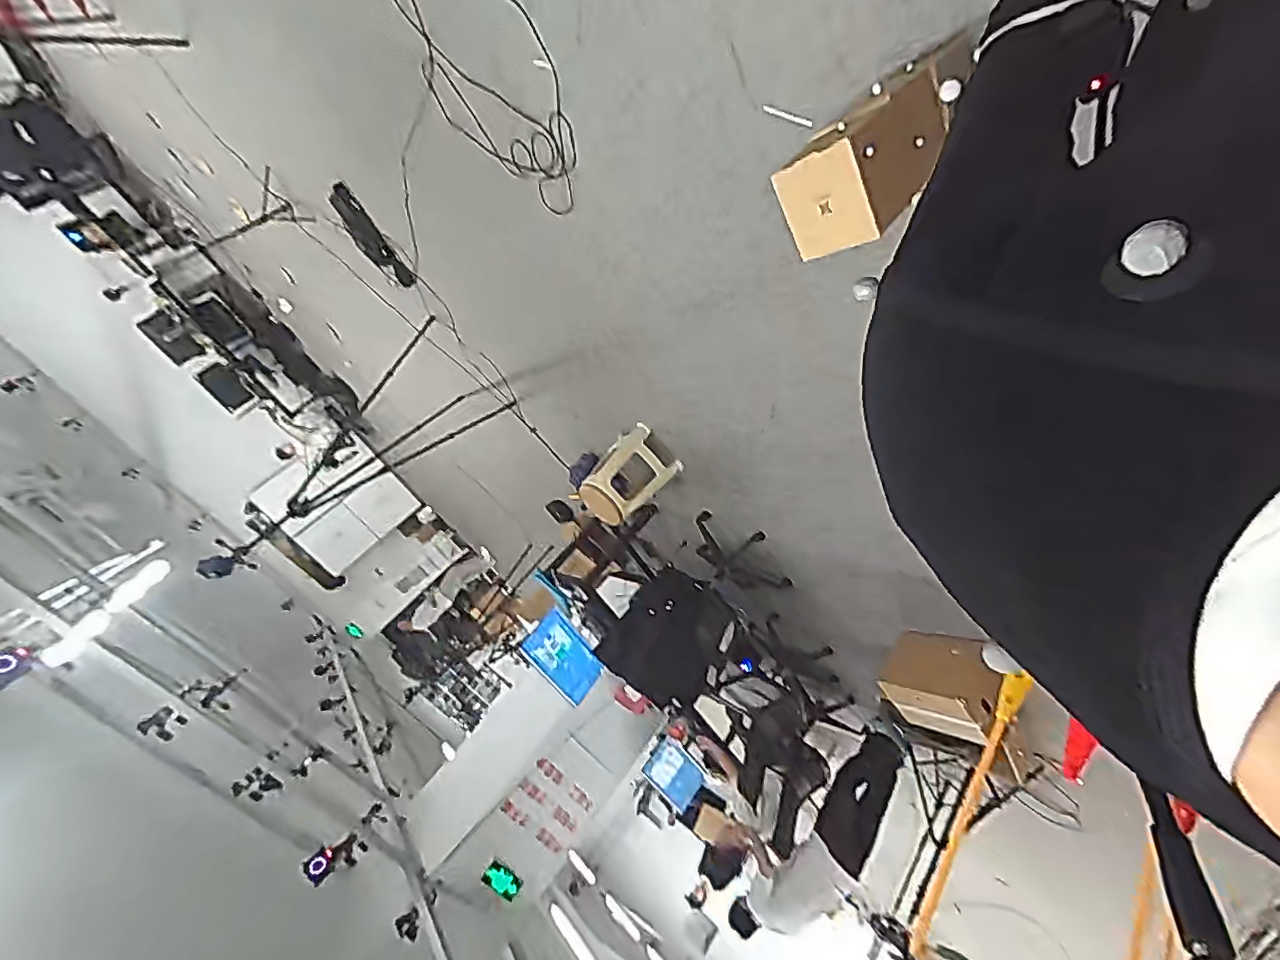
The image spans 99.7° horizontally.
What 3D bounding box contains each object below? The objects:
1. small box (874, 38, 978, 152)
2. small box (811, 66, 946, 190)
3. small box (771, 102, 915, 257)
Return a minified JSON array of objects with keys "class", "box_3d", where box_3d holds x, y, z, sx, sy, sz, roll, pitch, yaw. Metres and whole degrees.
[{"class":"small box","box_3d":[0.586,-0.778,1.140,0.179,0.176,0.168,4,135,53]},{"class":"small box","box_3d":[0.480,-0.669,1.076,0.168,0.176,0.179,6,135,53]},{"class":"small box","box_3d":[0.384,-0.555,1.011,0.168,0.176,0.179,5,135,53]}]
